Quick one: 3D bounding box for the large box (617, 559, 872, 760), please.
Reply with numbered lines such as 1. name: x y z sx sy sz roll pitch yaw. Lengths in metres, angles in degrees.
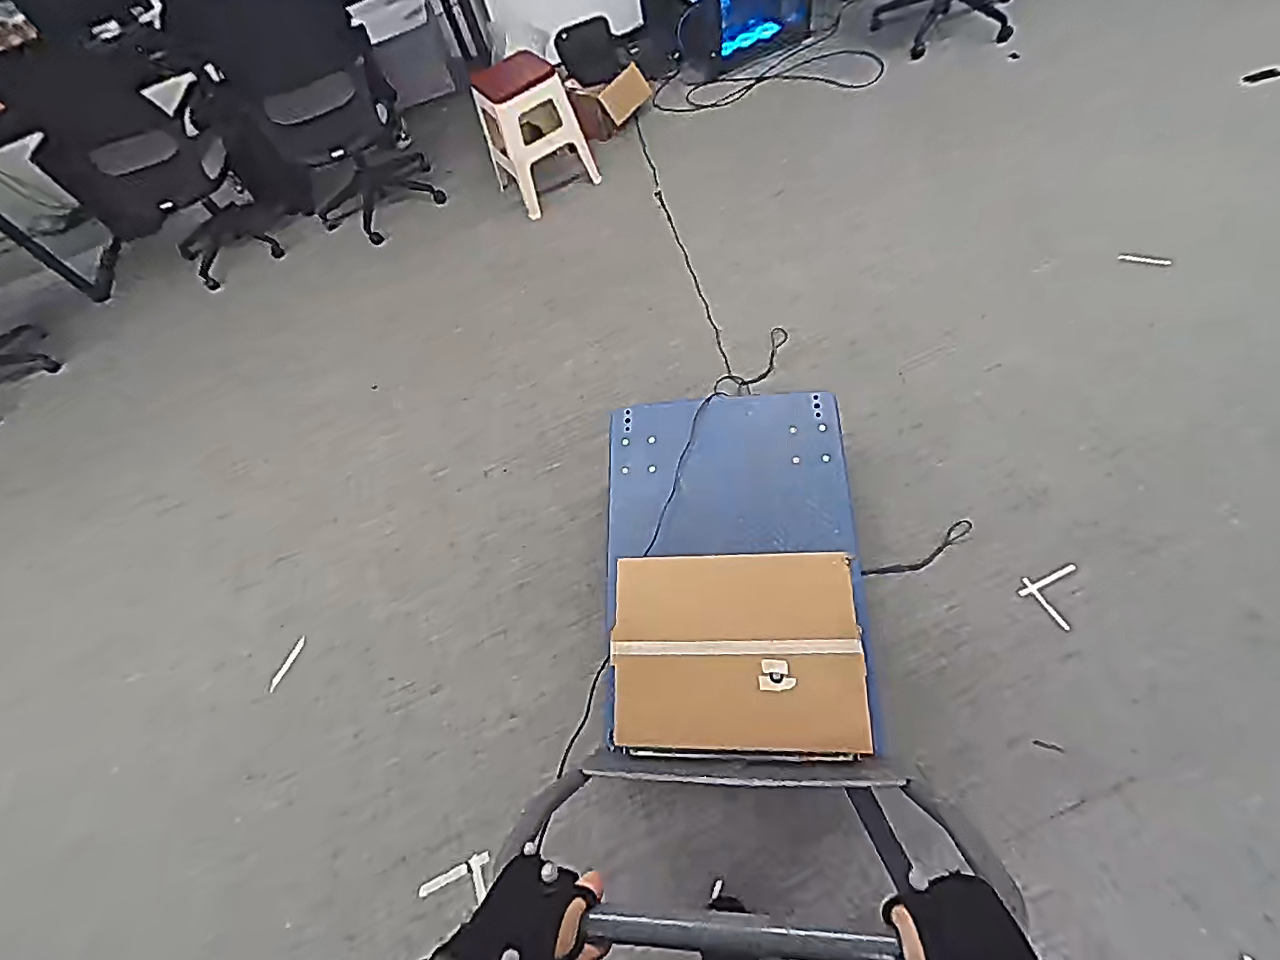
1. large box: 0.178 0.341 1.033 0.408 0.320 0.320 -3 70 9
